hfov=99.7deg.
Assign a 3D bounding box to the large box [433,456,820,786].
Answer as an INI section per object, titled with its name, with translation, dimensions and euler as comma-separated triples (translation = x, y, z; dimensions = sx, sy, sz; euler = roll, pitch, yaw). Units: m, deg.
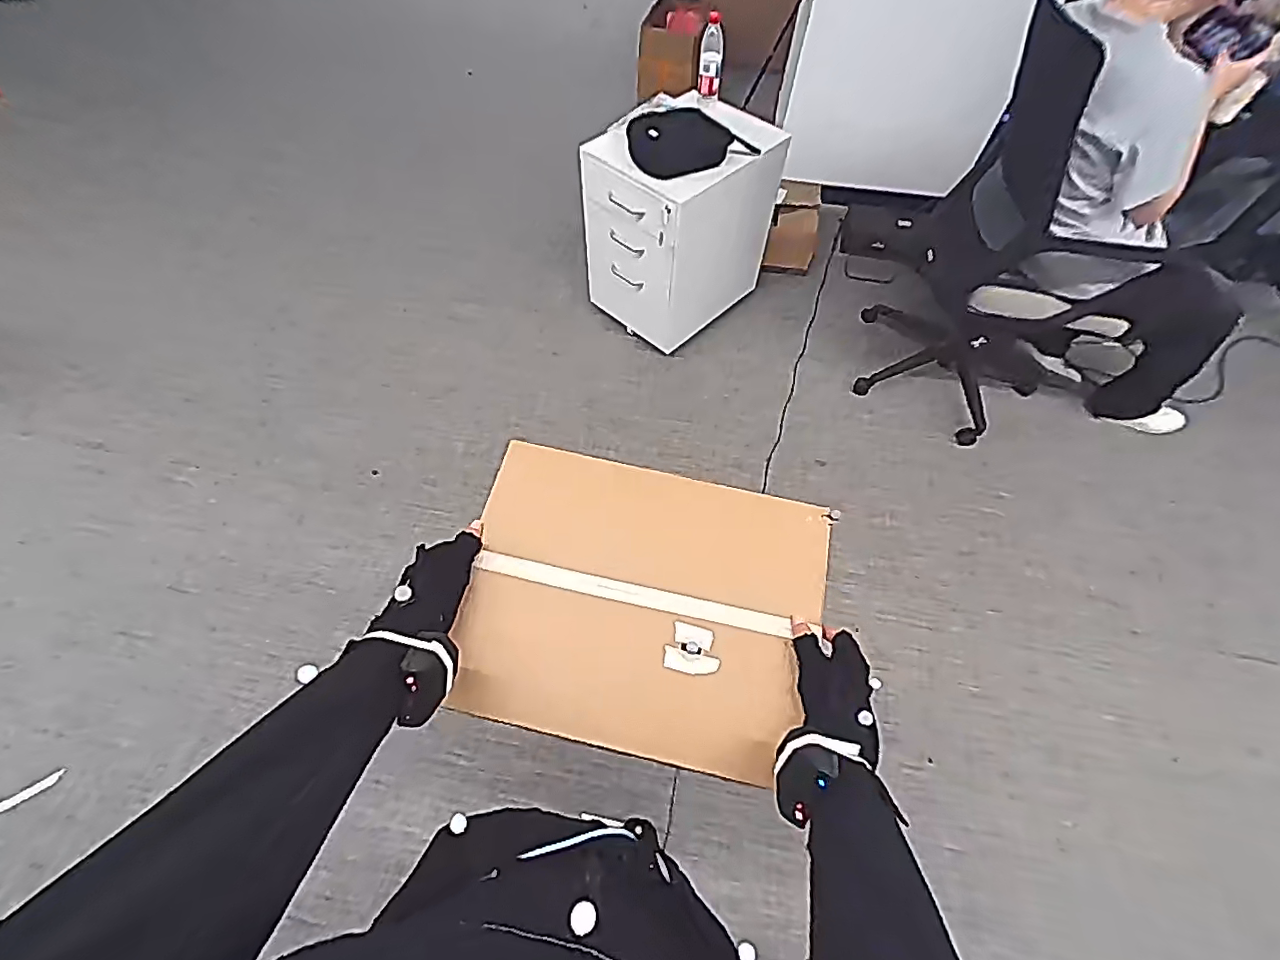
[large box]
translation = -0.007, 0.204, 0.759
dimensions = 0.408, 0.320, 0.320
euler = 13, 66, 2
